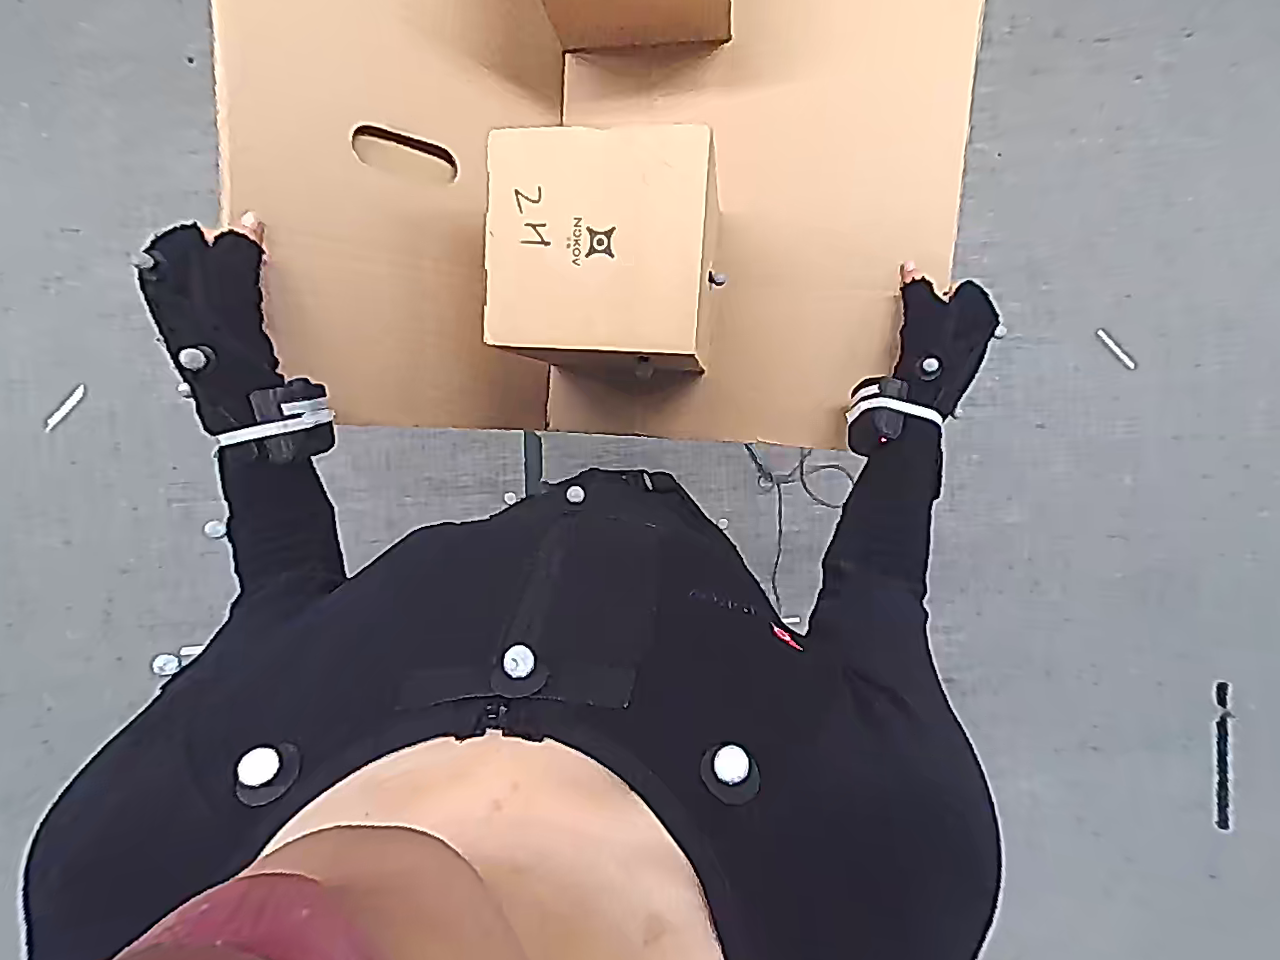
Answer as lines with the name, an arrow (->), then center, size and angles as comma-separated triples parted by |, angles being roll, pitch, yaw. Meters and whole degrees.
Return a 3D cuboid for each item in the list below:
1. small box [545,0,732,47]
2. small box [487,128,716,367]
small box -> -0.006, -0.513, 0.464 | 0.179, 0.176, 0.168 | 4, 97, 9
small box -> -0.023, -0.198, 0.504 | 0.179, 0.176, 0.168 | 5, 97, 10
